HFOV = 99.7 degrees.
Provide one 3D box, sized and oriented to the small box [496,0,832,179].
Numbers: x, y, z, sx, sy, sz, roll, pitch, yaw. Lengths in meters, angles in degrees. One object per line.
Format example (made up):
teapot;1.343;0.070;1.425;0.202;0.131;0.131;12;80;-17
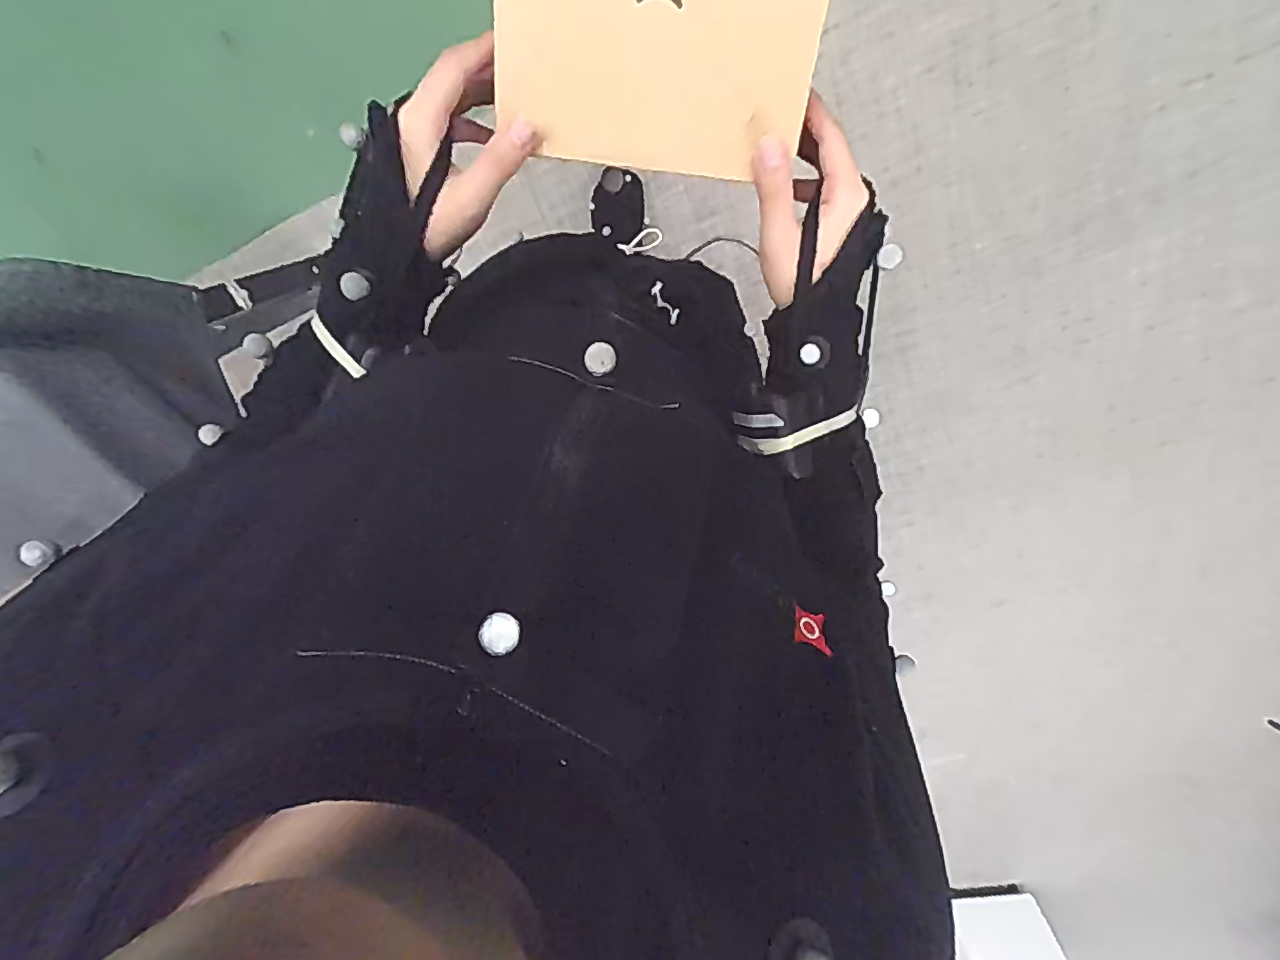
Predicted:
small box;0.016;-0.290;0.322;0.168;0.176;0.179;6;120;-3
